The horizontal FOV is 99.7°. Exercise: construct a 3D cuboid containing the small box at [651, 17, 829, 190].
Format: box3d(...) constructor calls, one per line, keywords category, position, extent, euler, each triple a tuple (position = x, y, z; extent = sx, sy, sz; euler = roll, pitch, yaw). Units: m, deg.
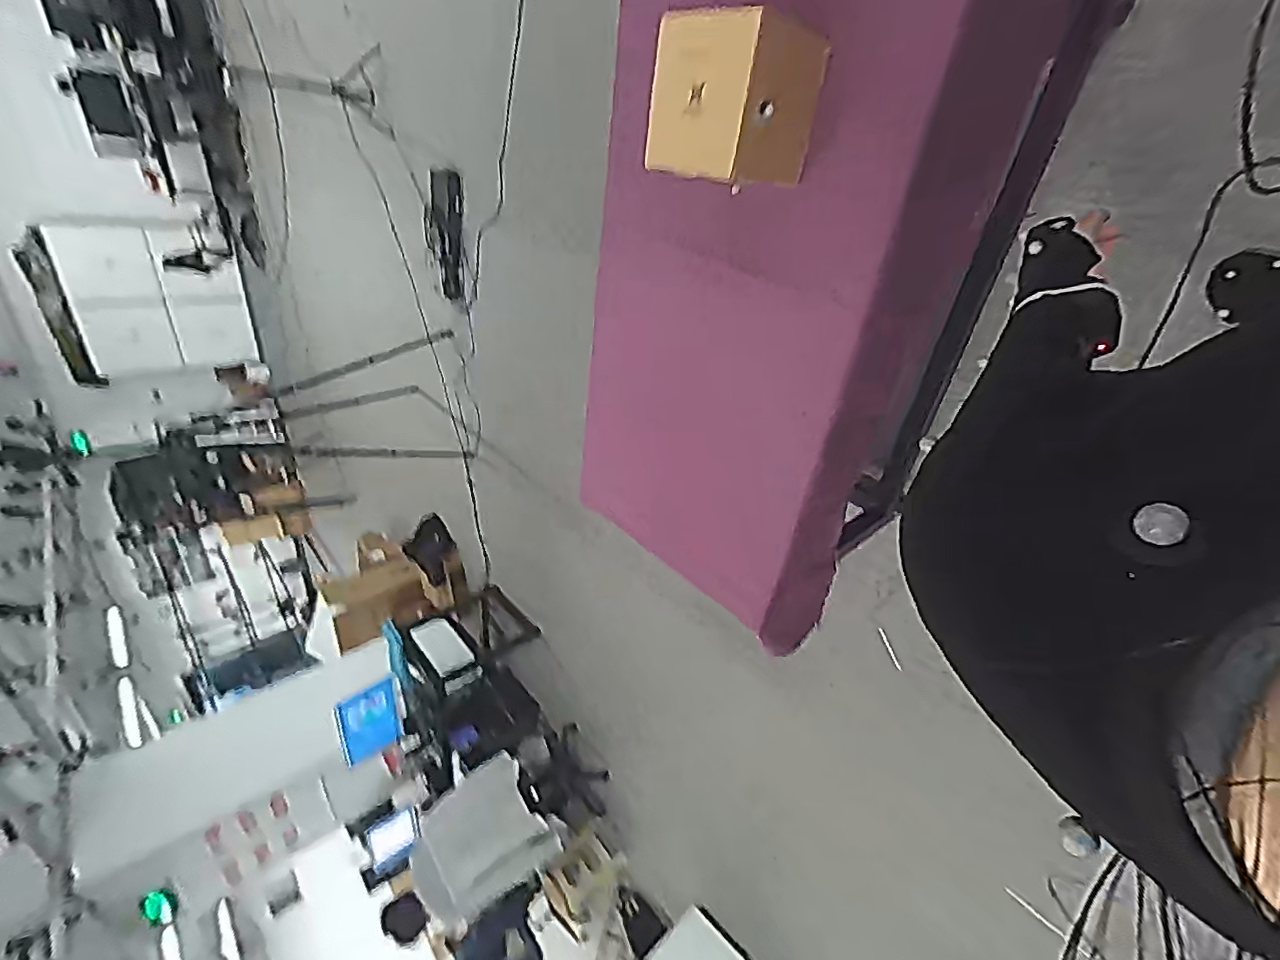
box3d(category="small box", position=(0.140, -0.521, 0.766), extent=(0.168, 0.176, 0.179), euler=(34, 128, 35))
